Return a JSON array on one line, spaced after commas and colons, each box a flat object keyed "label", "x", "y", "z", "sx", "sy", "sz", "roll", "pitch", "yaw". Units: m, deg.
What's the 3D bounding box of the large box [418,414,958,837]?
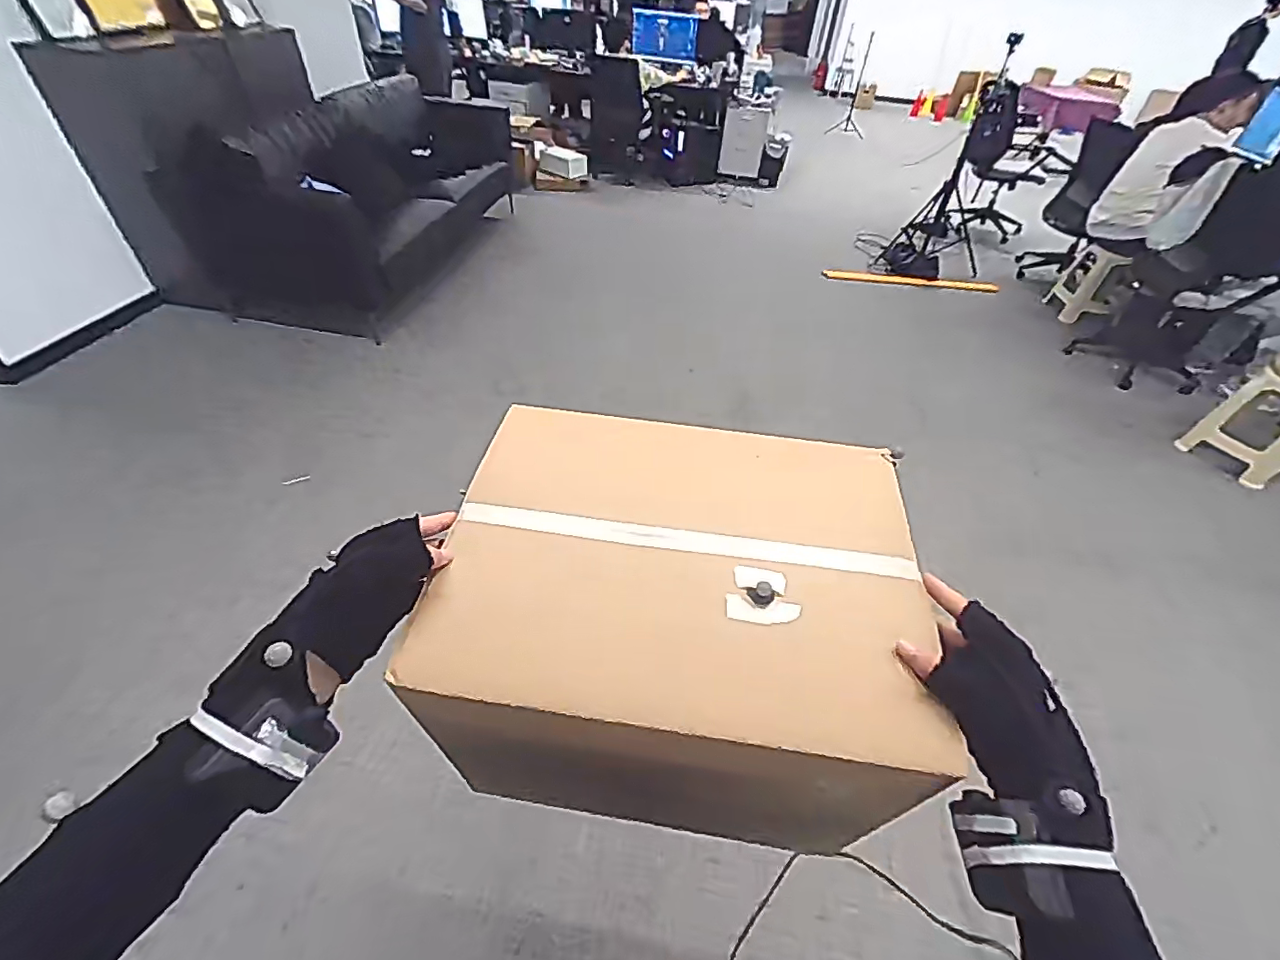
[{"label": "large box", "x": 0.039, "y": 0.160, "z": 0.597, "sx": 0.408, "sy": 0.320, "sz": 0.320, "roll": 8, "pitch": 48, "yaw": 3}]
